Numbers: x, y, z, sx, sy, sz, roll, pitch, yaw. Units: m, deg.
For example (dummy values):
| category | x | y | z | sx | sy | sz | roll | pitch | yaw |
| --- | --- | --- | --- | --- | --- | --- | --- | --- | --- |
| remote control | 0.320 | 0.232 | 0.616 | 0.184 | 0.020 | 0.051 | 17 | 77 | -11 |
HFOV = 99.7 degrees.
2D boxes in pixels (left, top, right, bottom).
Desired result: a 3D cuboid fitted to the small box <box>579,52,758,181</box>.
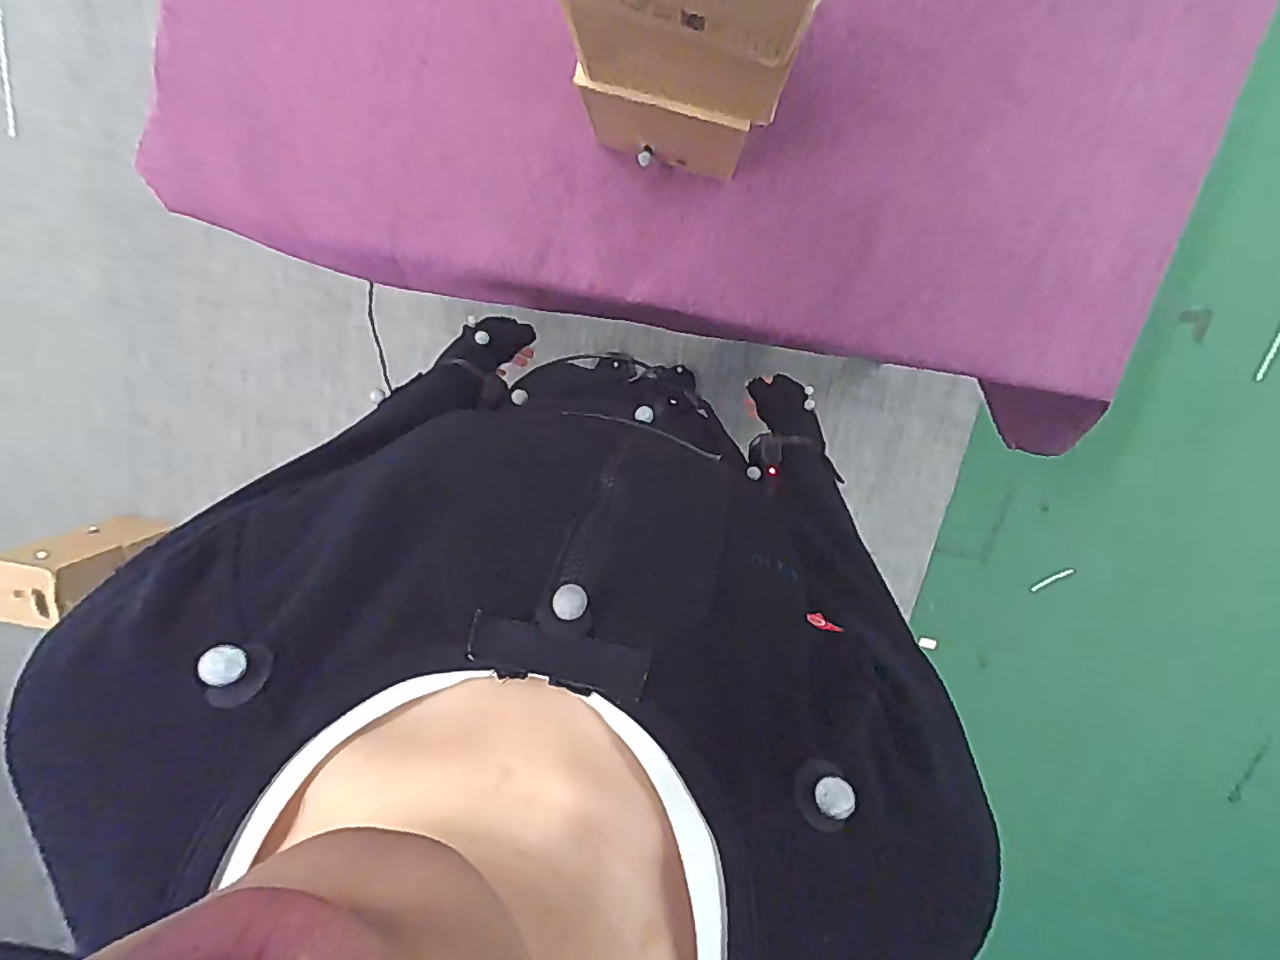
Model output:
| category | x | y | z | sx | sy | sz | roll | pitch | yaw |
| --- | --- | --- | --- | --- | --- | --- | --- | --- | --- |
| small box | 0.049 | -0.432 | 0.538 | 0.168 | 0.176 | 0.179 | 16 | 105 | 0 |

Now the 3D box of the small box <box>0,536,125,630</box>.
| category | x | y | z | sx | sy | sz | roll | pitch | yaw |
| --- | --- | --- | --- | --- | --- | --- | --- | --- | --- |
| small box | -1.458 | 0.253 | 1.367 | 0.179 | 0.176 | 0.168 | 10 | 105 | 1 |

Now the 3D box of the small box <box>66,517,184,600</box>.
| category | x | y | z | sx | sy | sz | roll | pitch | yaw |
| --- | --- | --- | --- | --- | --- | --- | --- | --- | --- |
| small box | -1.443 | 0.214 | 1.526 | 0.179 | 0.176 | 0.168 | 10 | 105 | 0 |

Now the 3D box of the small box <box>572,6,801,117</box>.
| category | x | y | z | sx | sy | sz | roll | pitch | yaw |
| --- | --- | --- | --- | --- | --- | --- | --- | --- | --- |
| small box | 0.048 | -0.392 | 0.382 | 0.179 | 0.176 | 0.168 | 14 | 105 | -1 |
